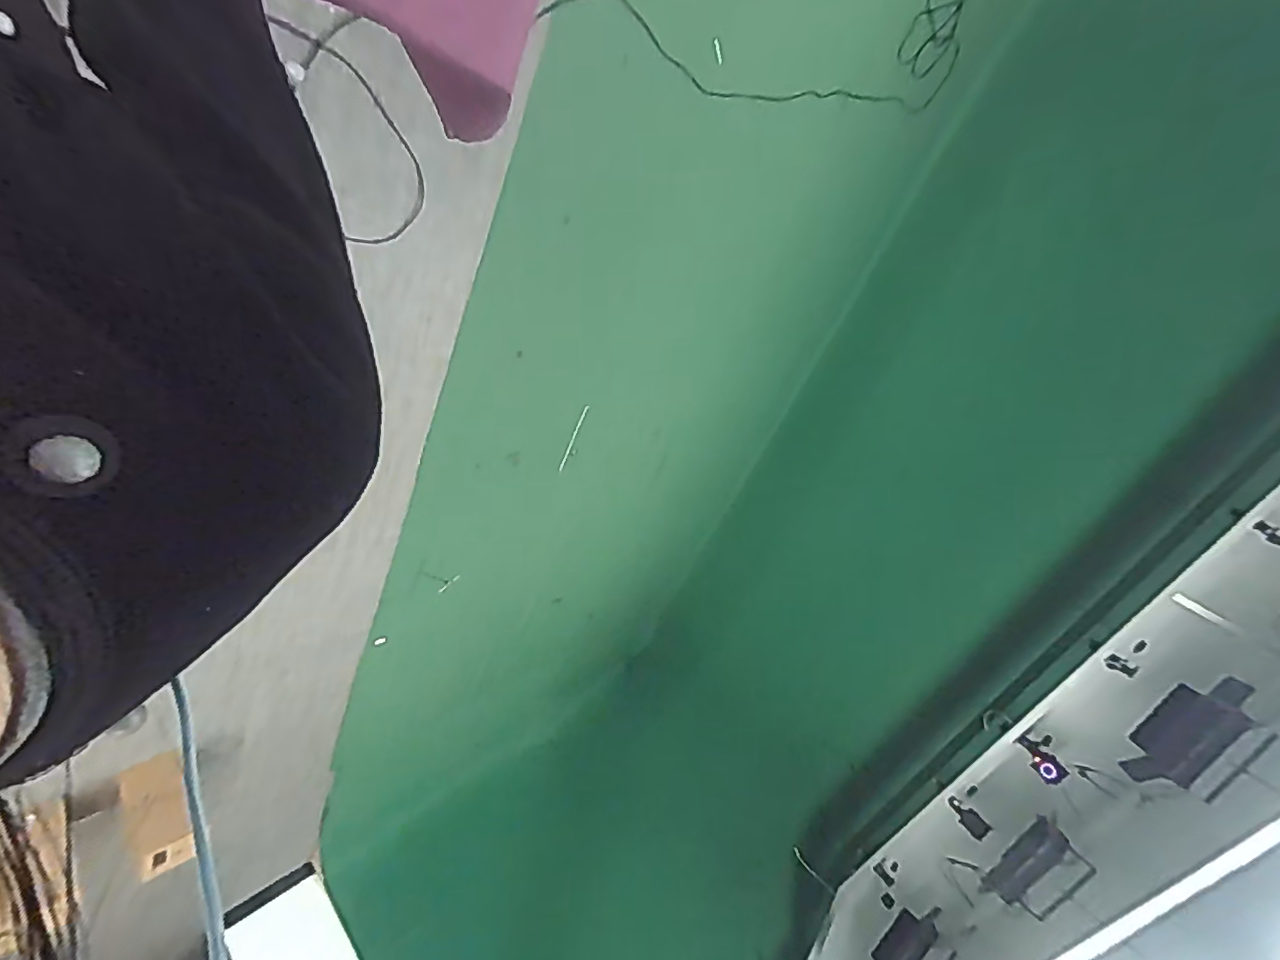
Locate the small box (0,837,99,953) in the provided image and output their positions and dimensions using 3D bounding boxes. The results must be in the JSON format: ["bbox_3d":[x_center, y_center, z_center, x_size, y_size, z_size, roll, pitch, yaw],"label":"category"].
[{"bbox_3d":[-1.745,1.202,1.584,0.179,0.176,0.168,2,122,-59],"label":"small box"}]

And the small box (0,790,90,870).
[{"bbox_3d":[-1.853,1.112,1.672,0.168,0.176,0.179,2,122,-59],"label":"small box"}]
